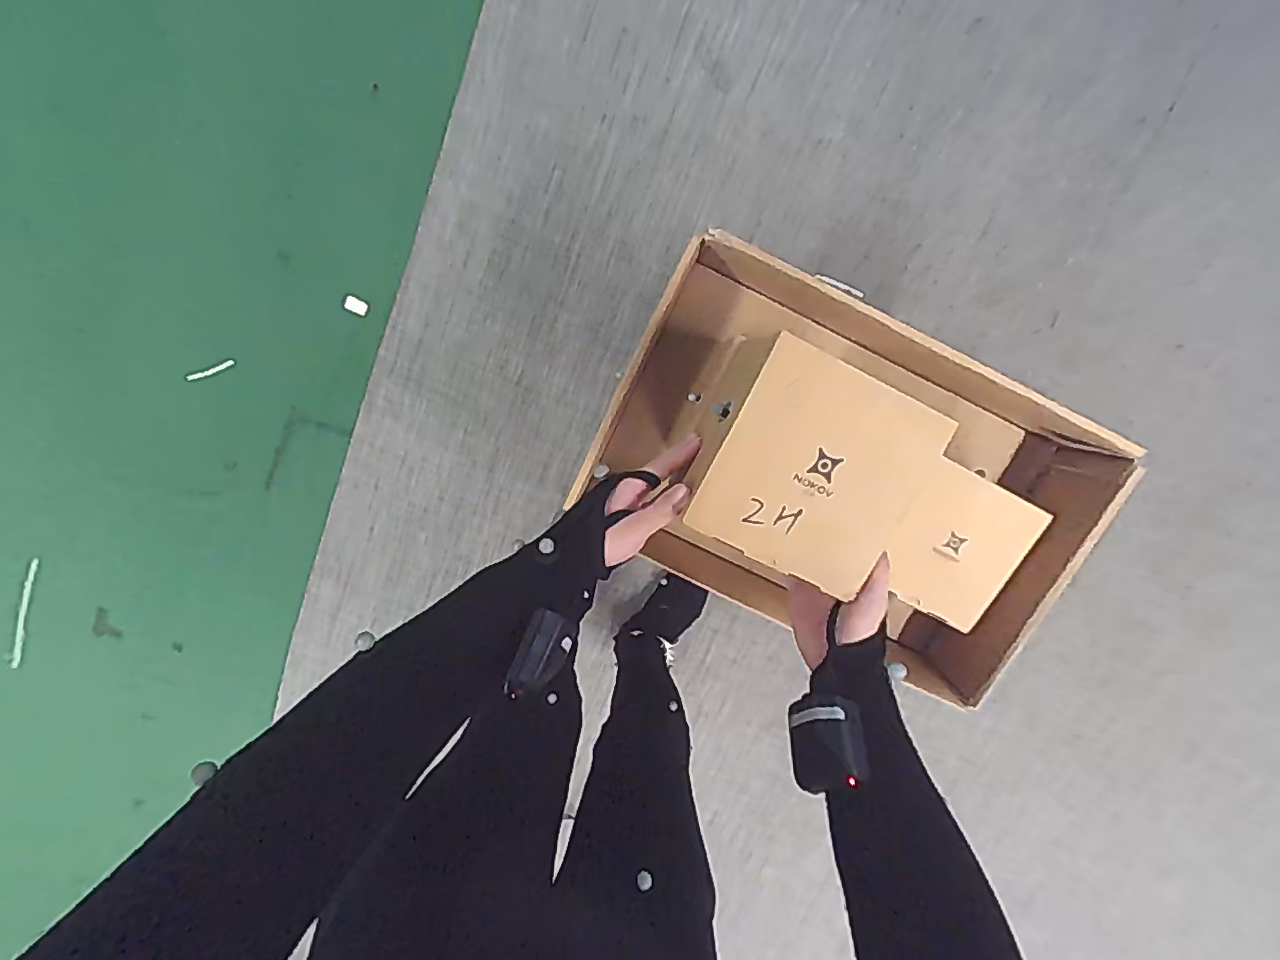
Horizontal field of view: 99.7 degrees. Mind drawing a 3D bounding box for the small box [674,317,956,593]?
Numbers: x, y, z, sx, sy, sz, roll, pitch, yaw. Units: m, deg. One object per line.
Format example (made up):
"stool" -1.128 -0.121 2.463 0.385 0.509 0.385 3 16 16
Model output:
"small box" 0.140 -0.030 0.511 0.168 0.176 0.179 26 100 -5
